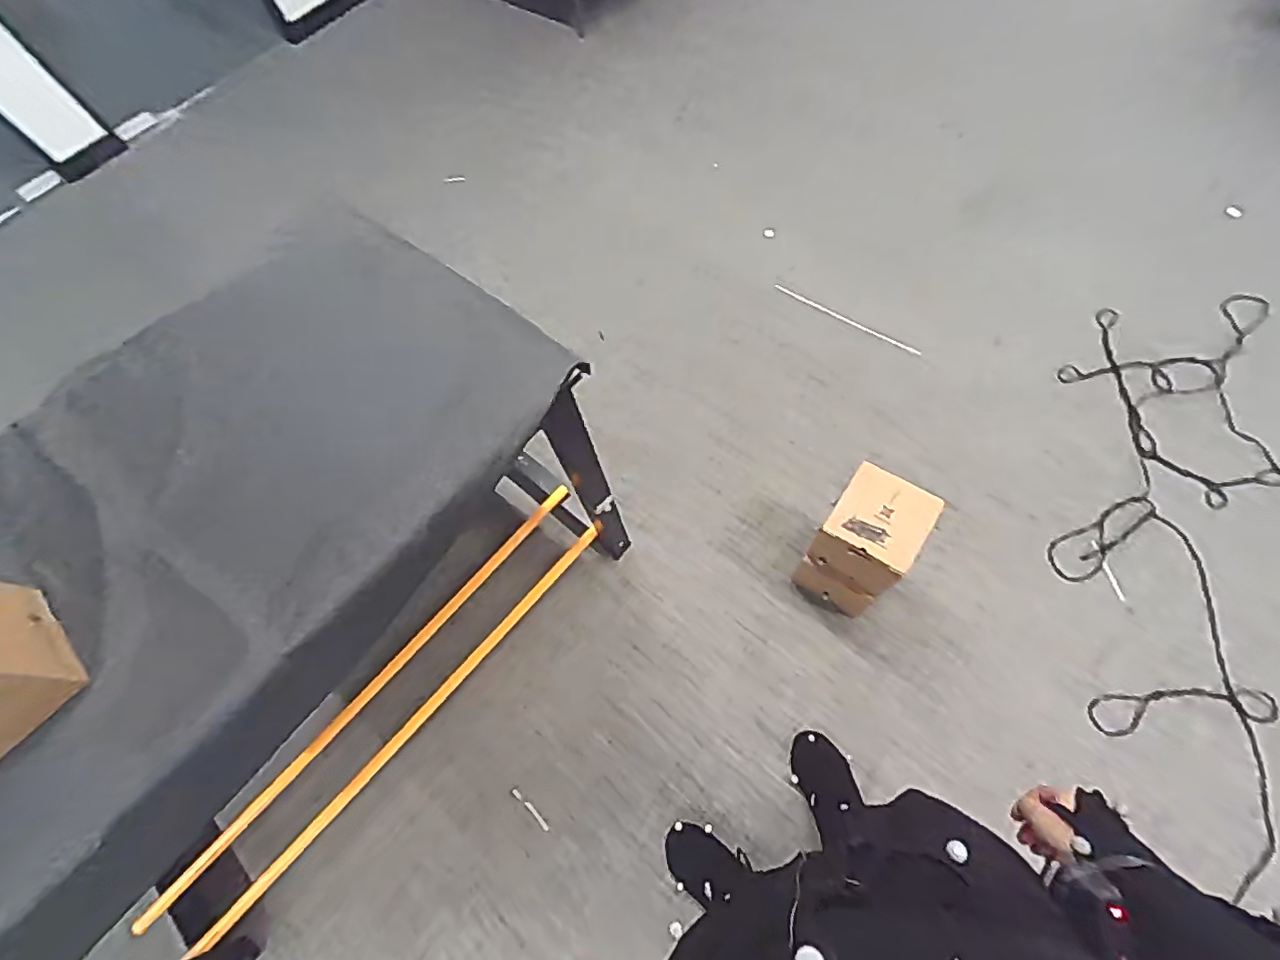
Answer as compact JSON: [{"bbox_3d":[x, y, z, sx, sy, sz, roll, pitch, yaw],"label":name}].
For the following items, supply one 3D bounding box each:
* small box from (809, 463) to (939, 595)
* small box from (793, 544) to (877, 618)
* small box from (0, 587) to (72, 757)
[{"bbox_3d":[0.459,0.106,1.088,0.168,0.176,0.179,31,70,19],"label":"small box"},{"bbox_3d":[0.467,0.186,1.231,0.168,0.176,0.179,30,71,19],"label":"small box"},{"bbox_3d":[-0.745,0.208,0.546,0.168,0.176,0.179,36,73,22],"label":"small box"}]
